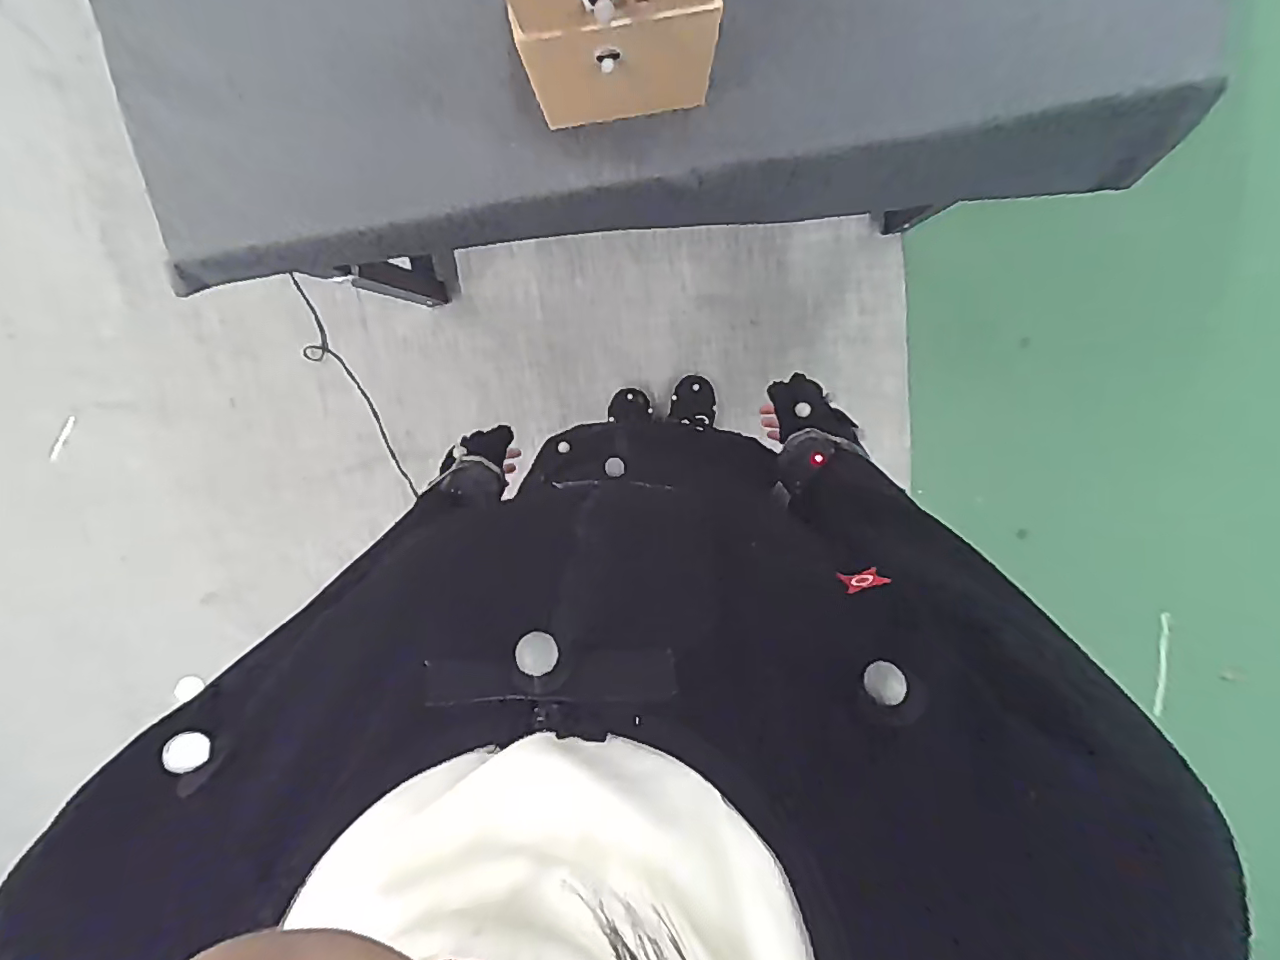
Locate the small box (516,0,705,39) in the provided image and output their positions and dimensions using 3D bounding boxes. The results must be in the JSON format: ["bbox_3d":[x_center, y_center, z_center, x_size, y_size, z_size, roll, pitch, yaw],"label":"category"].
[{"bbox_3d":[-0.034,-0.448,0.355,0.168,0.176,0.179,-9,102,5],"label":"small box"}]

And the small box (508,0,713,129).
[{"bbox_3d":[-0.031,-0.476,0.531,0.179,0.176,0.168,-8,102,2],"label":"small box"}]
